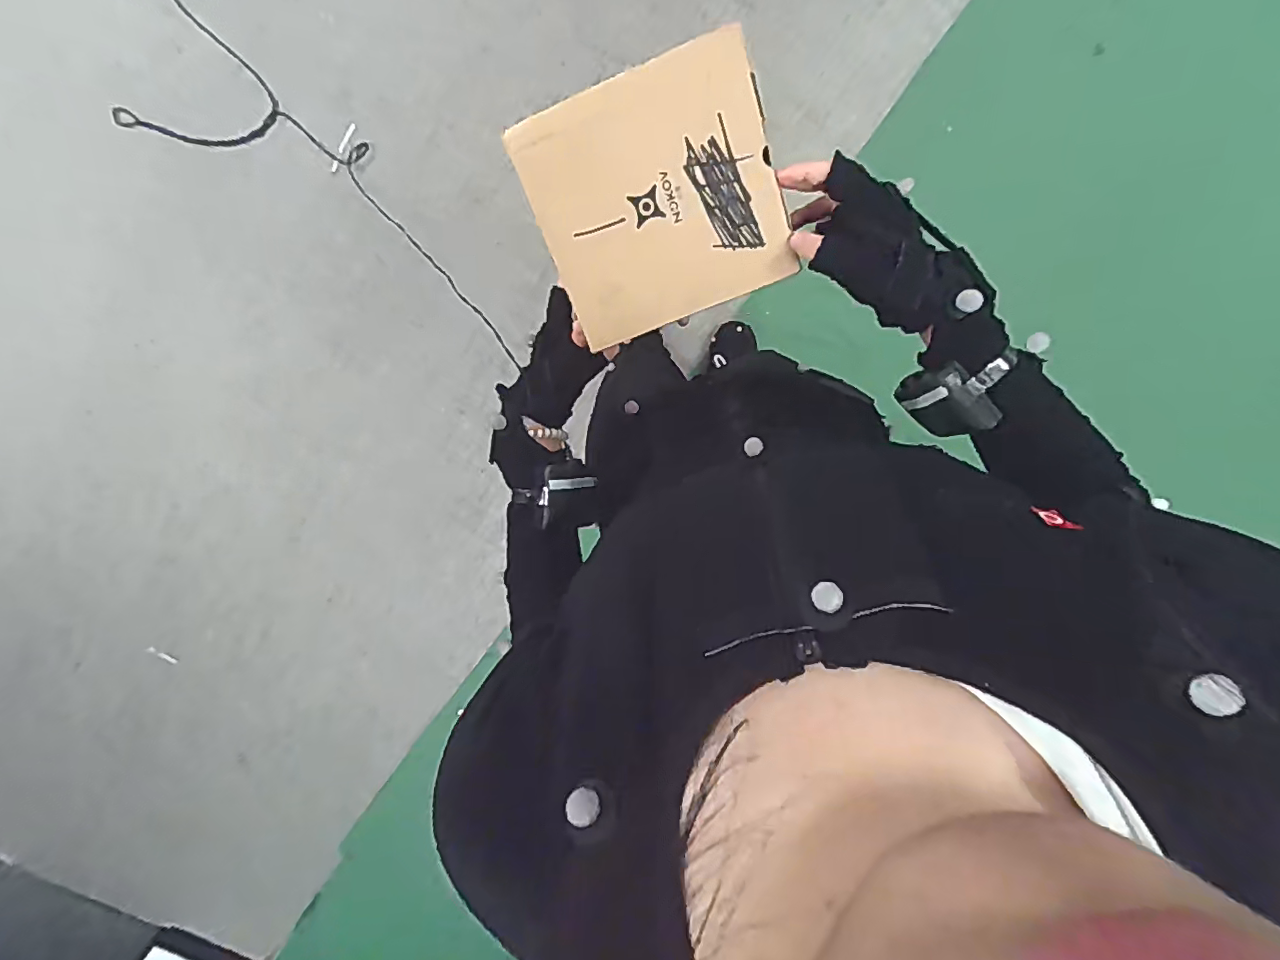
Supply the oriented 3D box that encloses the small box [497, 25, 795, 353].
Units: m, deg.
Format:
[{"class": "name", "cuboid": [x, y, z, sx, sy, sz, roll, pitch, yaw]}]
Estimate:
[{"class": "small box", "cuboid": [0.008, -0.228, 0.460, 0.179, 0.176, 0.168, -19, 111, 9]}]
